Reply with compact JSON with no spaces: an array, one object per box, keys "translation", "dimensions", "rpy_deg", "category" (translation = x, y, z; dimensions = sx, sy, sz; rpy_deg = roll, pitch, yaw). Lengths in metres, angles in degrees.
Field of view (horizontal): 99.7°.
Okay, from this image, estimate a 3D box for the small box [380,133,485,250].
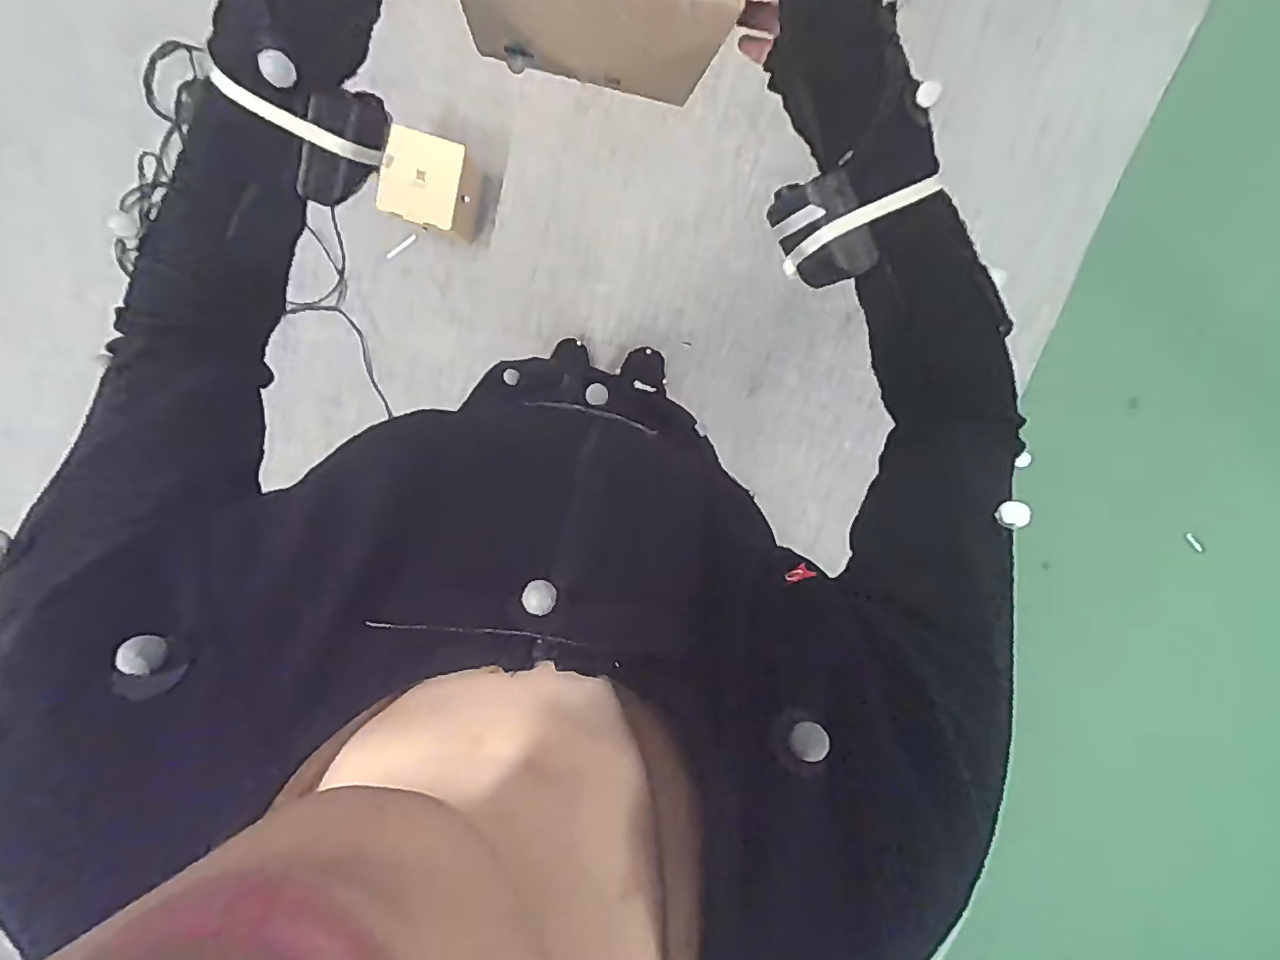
[{"translation":[-0.467,-0.652,1.243],"dimensions":[0.168,0.176,0.179],"rpy_deg":[15,103,-4],"category":"small box"}]
